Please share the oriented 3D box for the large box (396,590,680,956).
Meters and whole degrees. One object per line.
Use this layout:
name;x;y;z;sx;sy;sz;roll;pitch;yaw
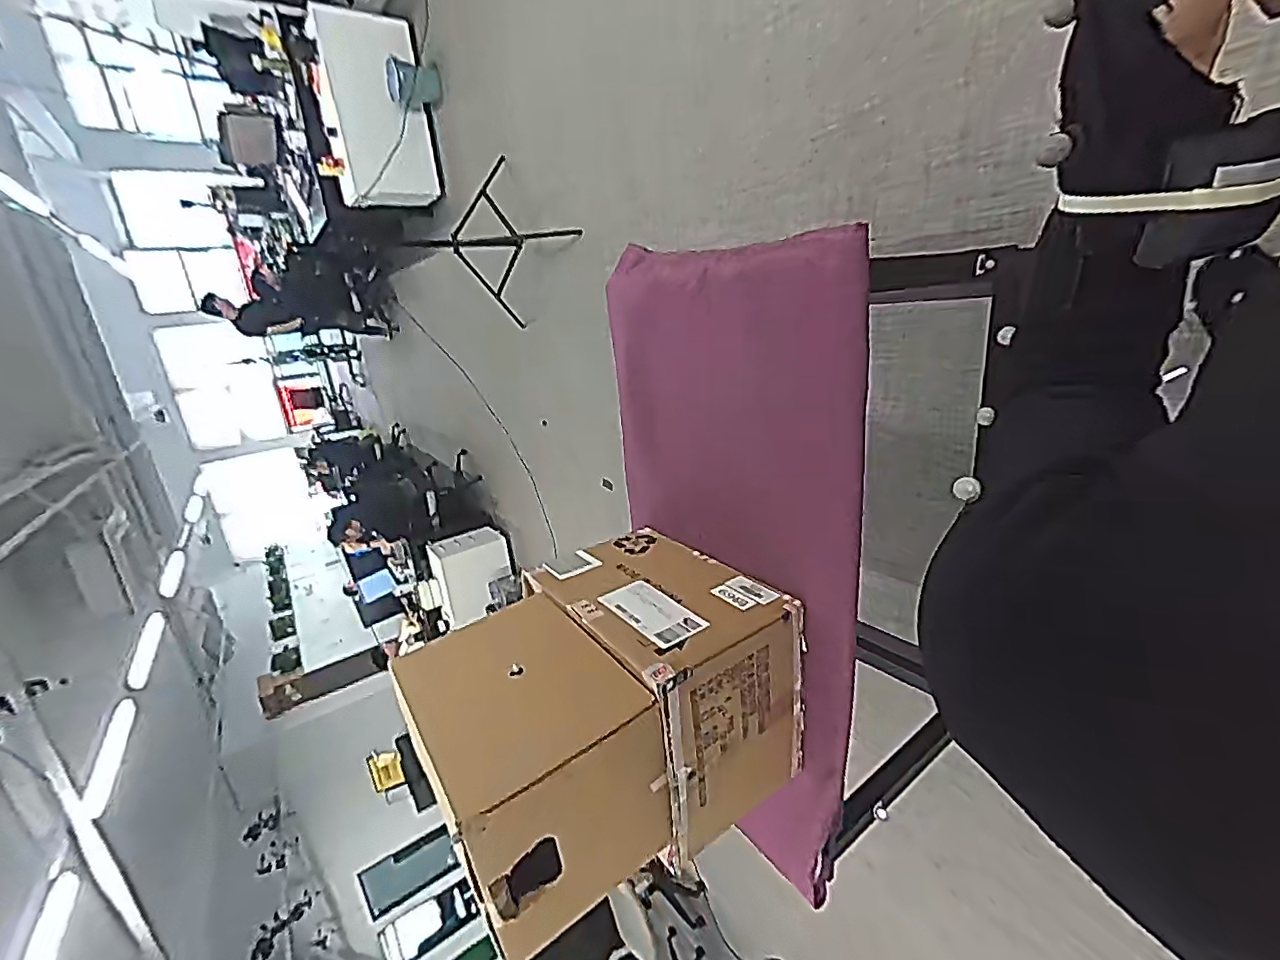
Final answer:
large box;-0.184;0.447;0.939;0.408;0.320;0.320;21;126;52
